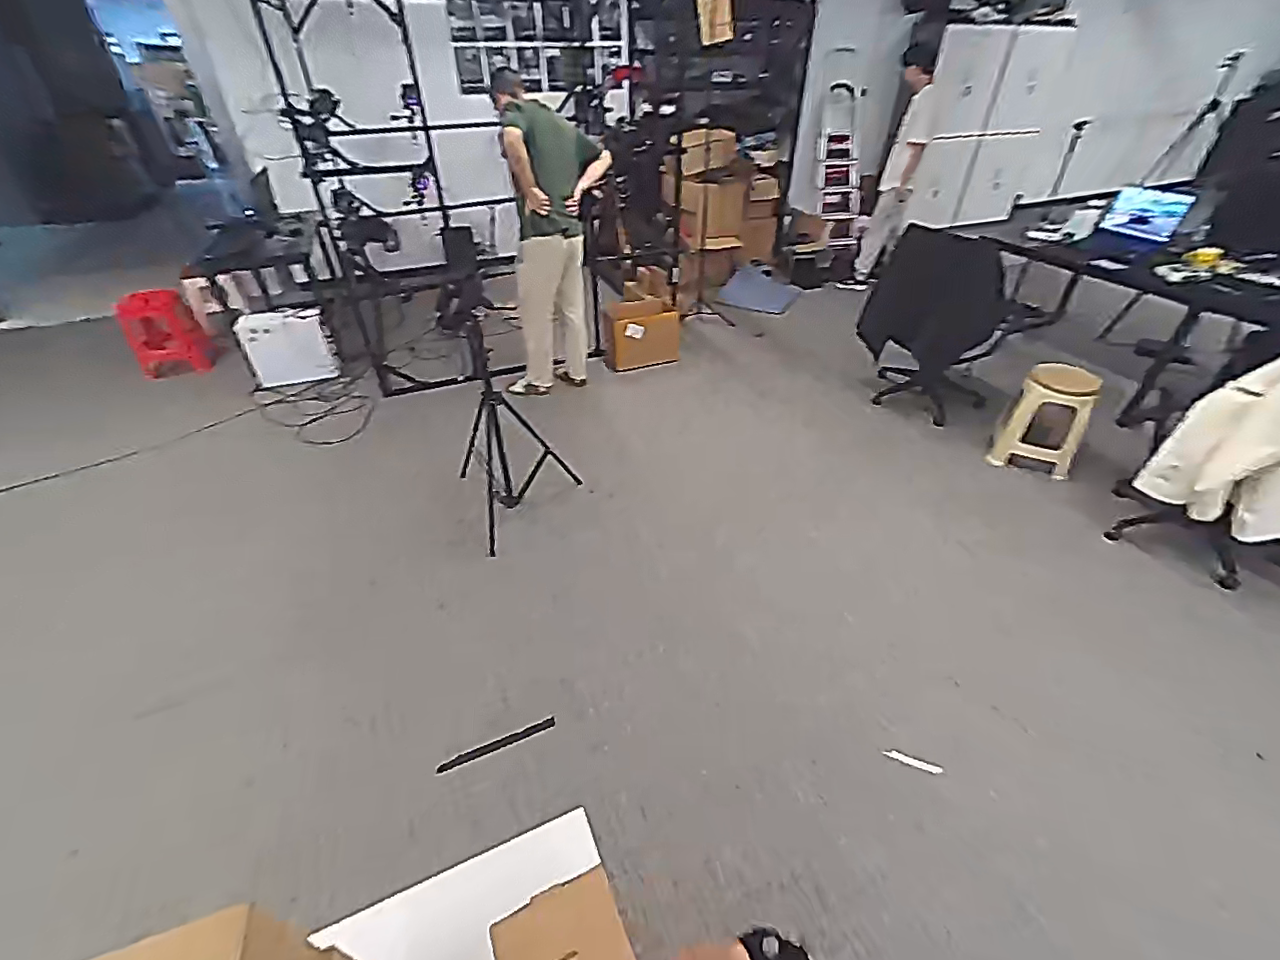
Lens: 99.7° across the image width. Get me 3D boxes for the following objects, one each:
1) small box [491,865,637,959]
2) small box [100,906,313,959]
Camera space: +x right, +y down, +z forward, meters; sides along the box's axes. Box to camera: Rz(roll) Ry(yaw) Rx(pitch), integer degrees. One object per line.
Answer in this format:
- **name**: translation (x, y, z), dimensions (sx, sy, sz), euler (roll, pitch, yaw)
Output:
- **small box**: translation (-0.088, 0.680, 0.732), dimensions (0.168, 0.176, 0.179), euler (-18, 41, -19)
- **small box**: translation (-0.384, 0.501, 0.438), dimensions (0.168, 0.176, 0.179), euler (-13, 39, -15)
